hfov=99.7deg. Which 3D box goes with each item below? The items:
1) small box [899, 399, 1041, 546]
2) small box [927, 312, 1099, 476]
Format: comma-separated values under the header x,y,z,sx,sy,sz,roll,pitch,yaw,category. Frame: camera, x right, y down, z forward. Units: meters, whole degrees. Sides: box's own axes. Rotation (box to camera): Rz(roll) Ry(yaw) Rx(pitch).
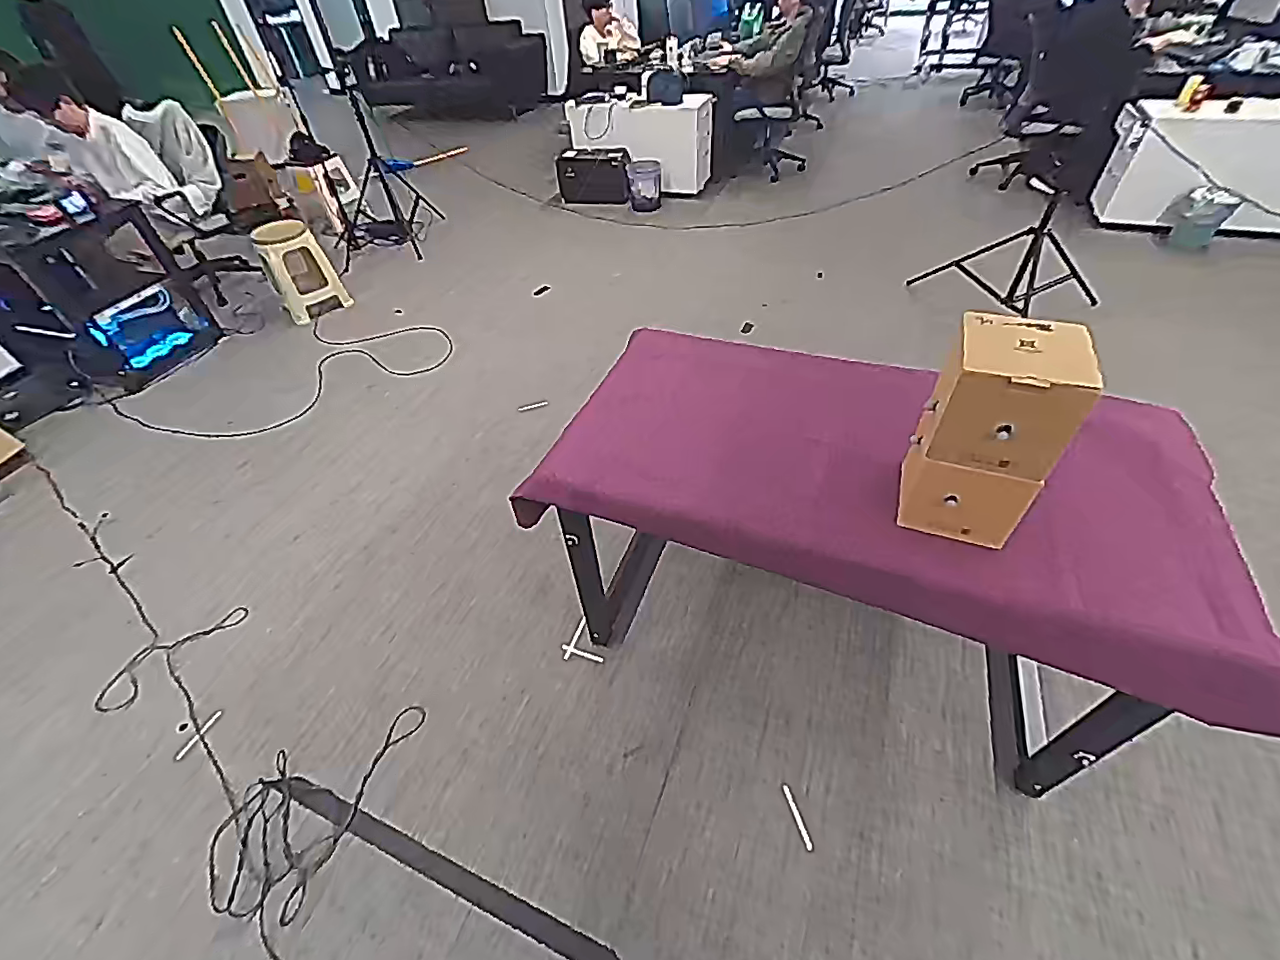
x,y,z,sx,sy,sz,roll,pitch,yaw,category
0.563,-0.013,0.941,0.168,0.176,0.179,14,48,18,small box
0.555,-0.131,0.827,0.168,0.176,0.179,14,49,19,small box
